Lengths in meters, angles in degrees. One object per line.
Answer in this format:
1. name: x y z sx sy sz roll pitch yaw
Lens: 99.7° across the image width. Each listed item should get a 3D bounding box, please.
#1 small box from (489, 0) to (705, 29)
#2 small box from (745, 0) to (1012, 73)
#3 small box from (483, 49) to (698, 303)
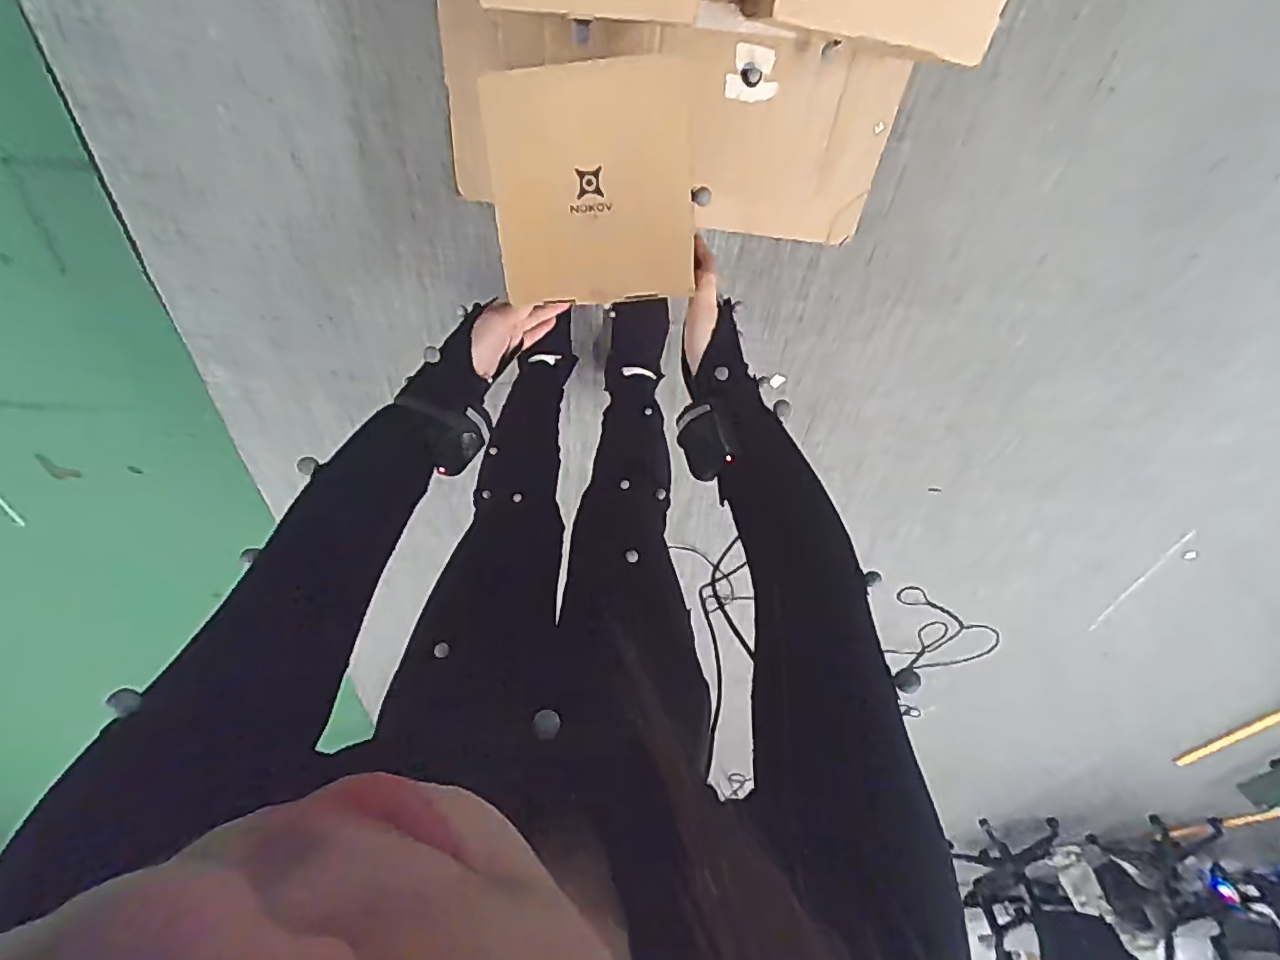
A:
1. small box: -0.030 -0.467 0.415 0.168 0.176 0.179 2 130 -3
2. small box: 0.200 -0.451 0.430 0.179 0.176 0.168 8 130 -7
3. small box: -0.031 -0.270 0.517 0.168 0.176 0.179 -2 112 6
